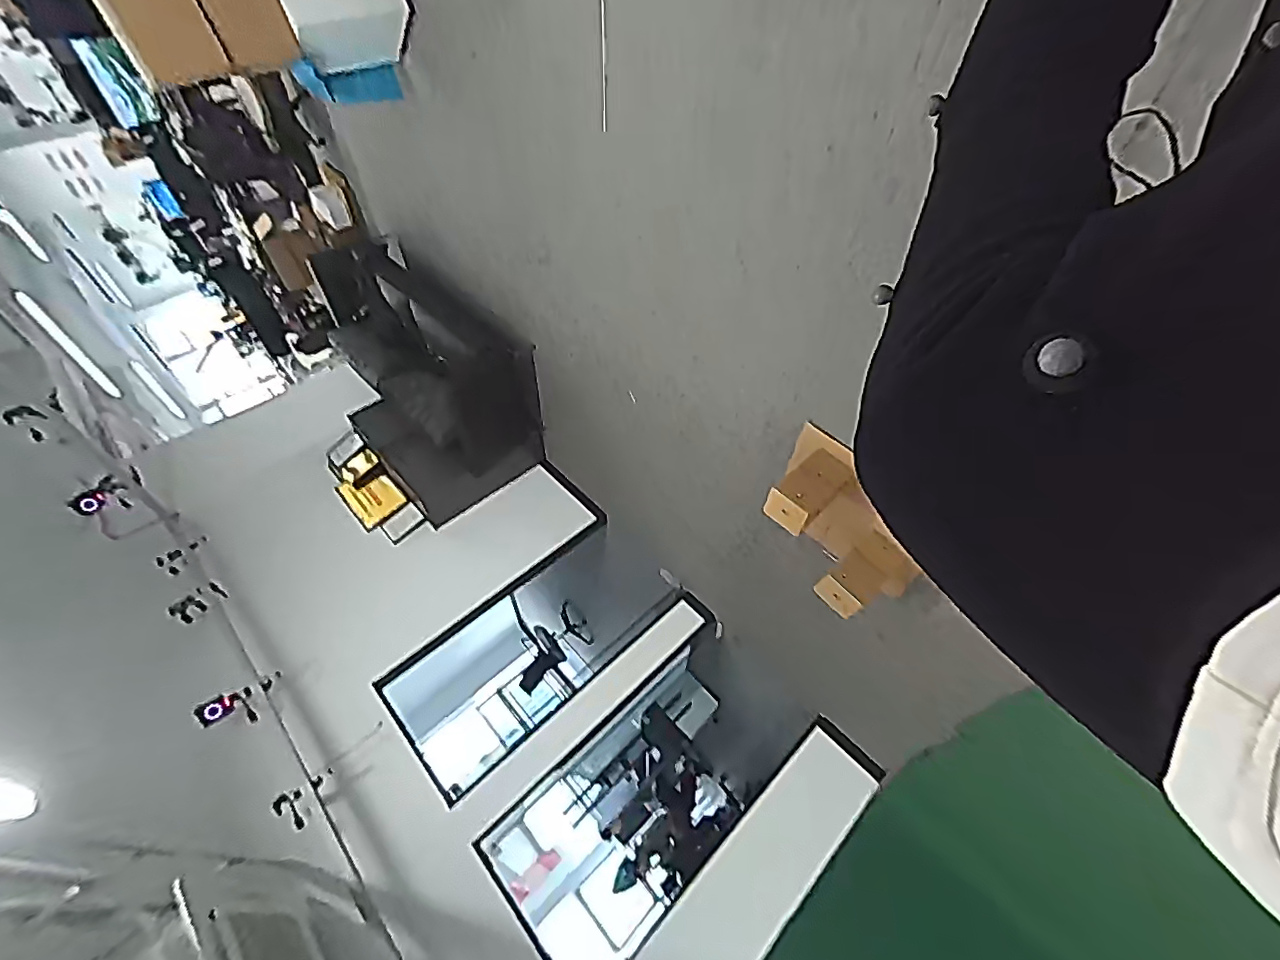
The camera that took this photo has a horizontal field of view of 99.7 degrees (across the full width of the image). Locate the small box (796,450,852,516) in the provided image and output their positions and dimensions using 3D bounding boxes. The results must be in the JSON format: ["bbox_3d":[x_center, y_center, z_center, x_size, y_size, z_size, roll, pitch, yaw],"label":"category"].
[{"bbox_3d":[0.743,0.007,2.234,0.179,0.176,0.168,41,150,24],"label":"small box"}]

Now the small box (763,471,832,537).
[{"bbox_3d":[0.627,0.087,2.154,0.179,0.176,0.168,39,148,24],"label":"small box"}]

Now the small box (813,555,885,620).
[{"bbox_3d":[0.843,0.426,2.182,0.179,0.176,0.168,45,152,18],"label":"small box"}]

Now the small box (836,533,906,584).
[{"bbox_3d":[0.965,0.346,2.262,0.179,0.176,0.168,45,152,18],"label":"small box"}]
